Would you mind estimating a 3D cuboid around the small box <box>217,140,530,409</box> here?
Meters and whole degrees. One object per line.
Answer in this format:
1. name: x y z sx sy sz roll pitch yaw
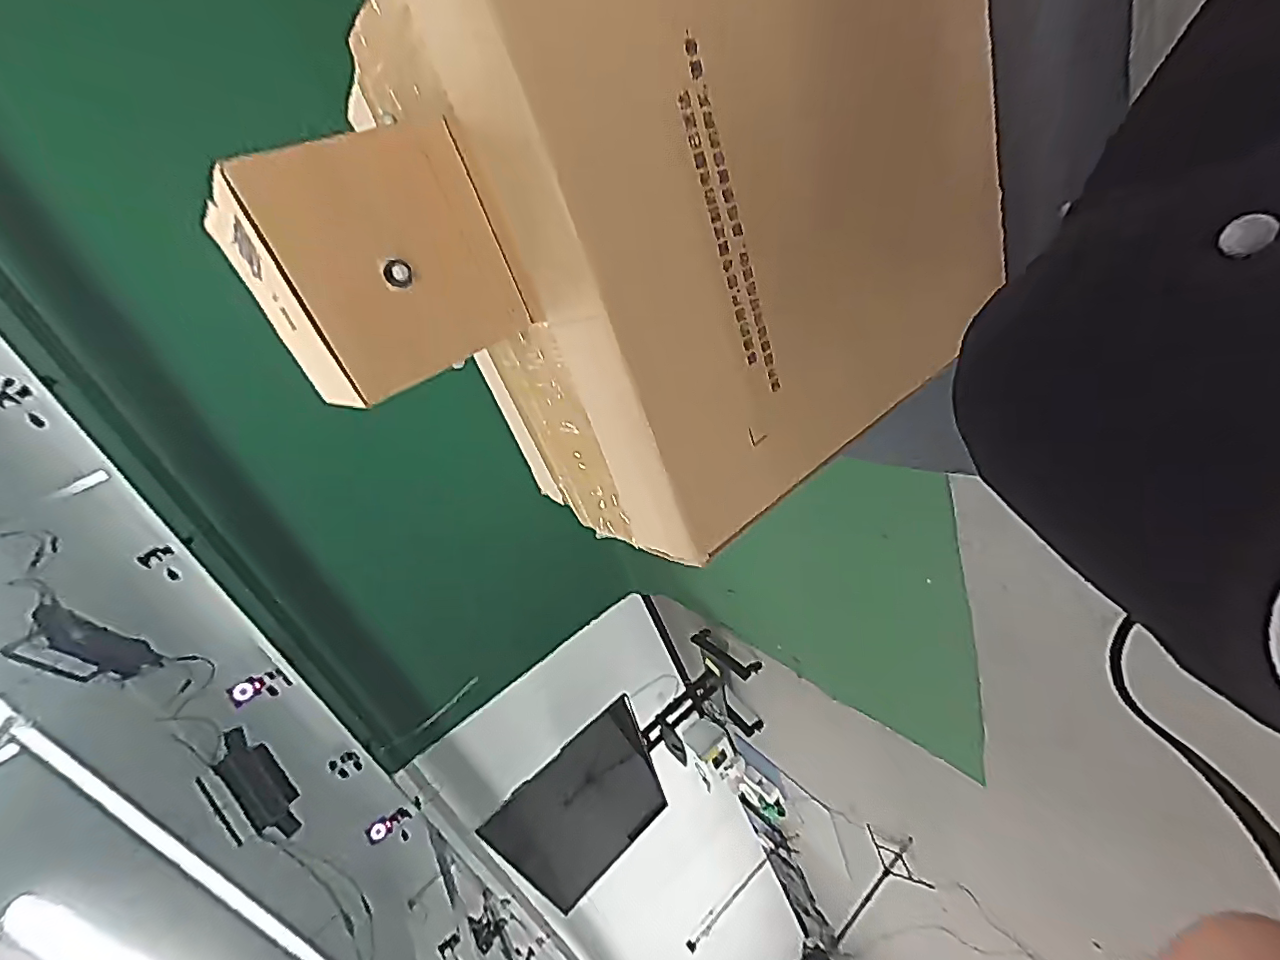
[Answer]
1. small box: -0.233 -0.182 0.490 0.168 0.176 0.179 12 133 49
